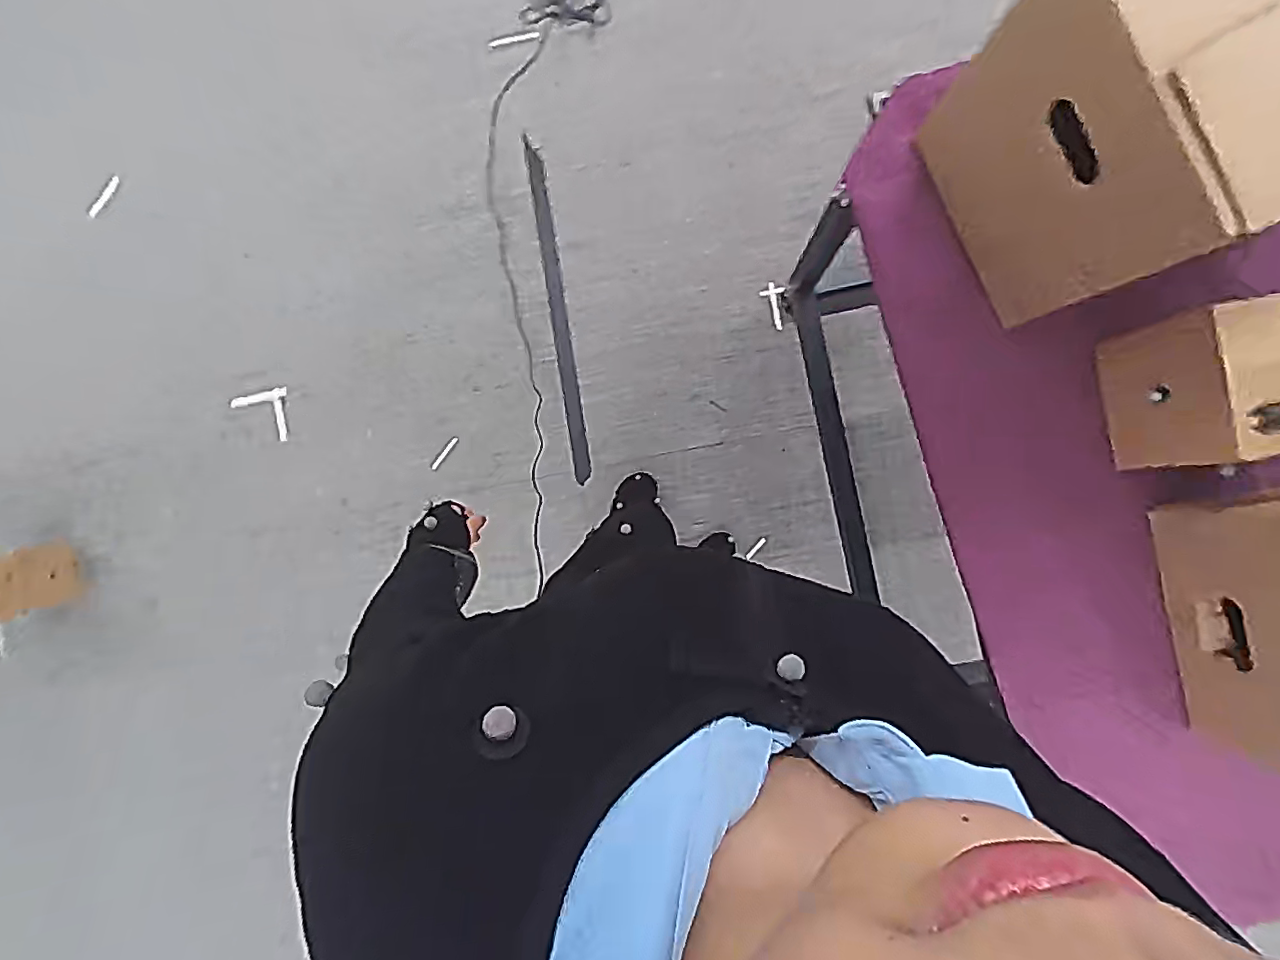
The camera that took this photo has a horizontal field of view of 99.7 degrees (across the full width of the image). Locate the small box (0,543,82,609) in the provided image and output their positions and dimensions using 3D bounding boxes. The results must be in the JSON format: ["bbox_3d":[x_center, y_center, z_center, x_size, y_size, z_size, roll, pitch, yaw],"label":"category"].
[{"bbox_3d":[-1.732,0.276,1.521,0.179,0.176,0.168,-12,87,3],"label":"small box"}]

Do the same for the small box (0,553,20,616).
[{"bbox_3d":[-1.736,0.277,1.358,0.179,0.176,0.168,-5,88,2],"label":"small box"}]
